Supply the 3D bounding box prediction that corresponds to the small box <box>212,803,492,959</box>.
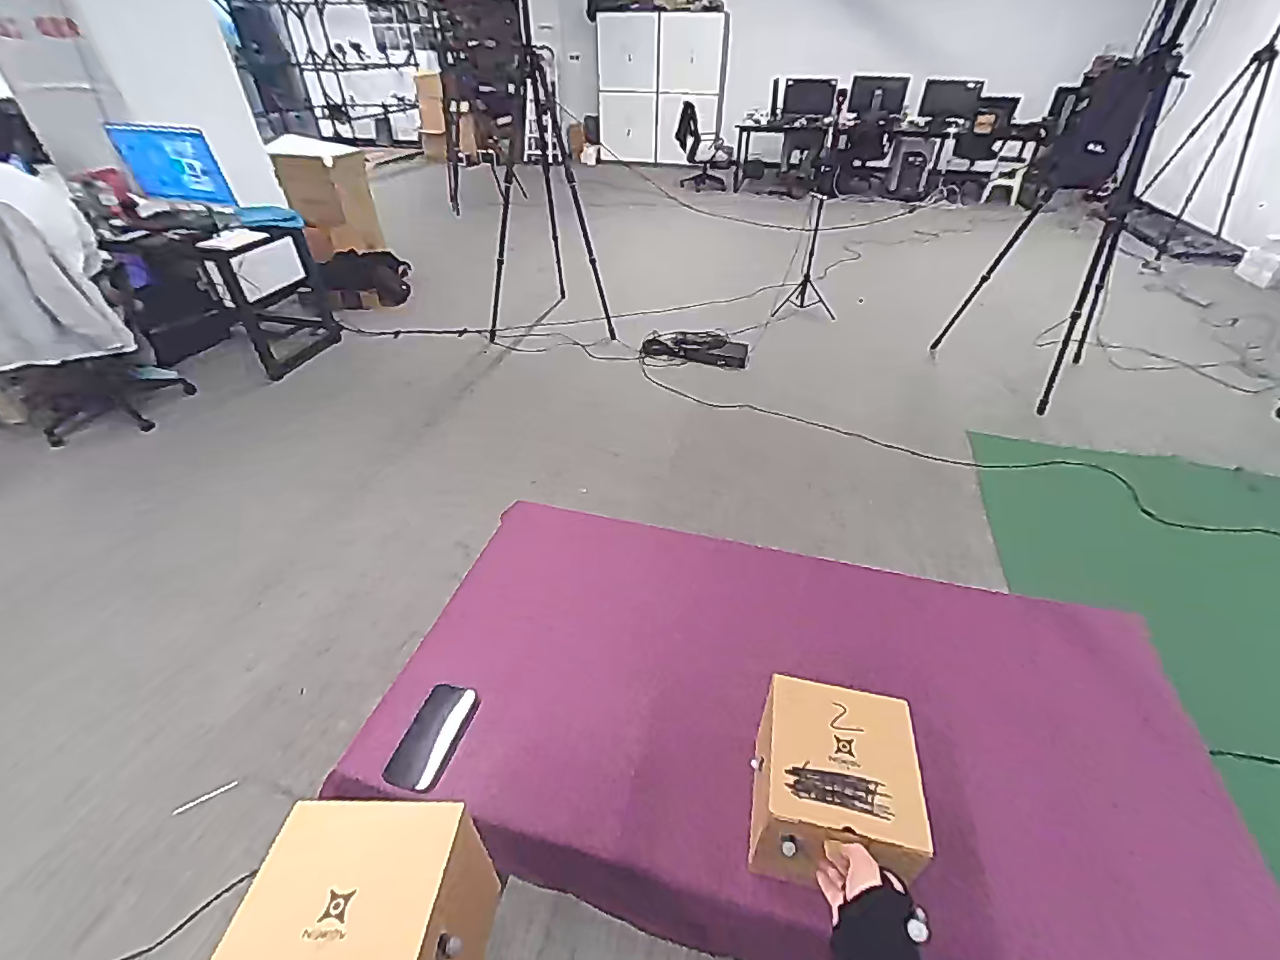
[{"bbox_3d":[-0.240,0.419,0.476,0.168,0.176,0.179,-1,33,4],"label":"small box"}]
